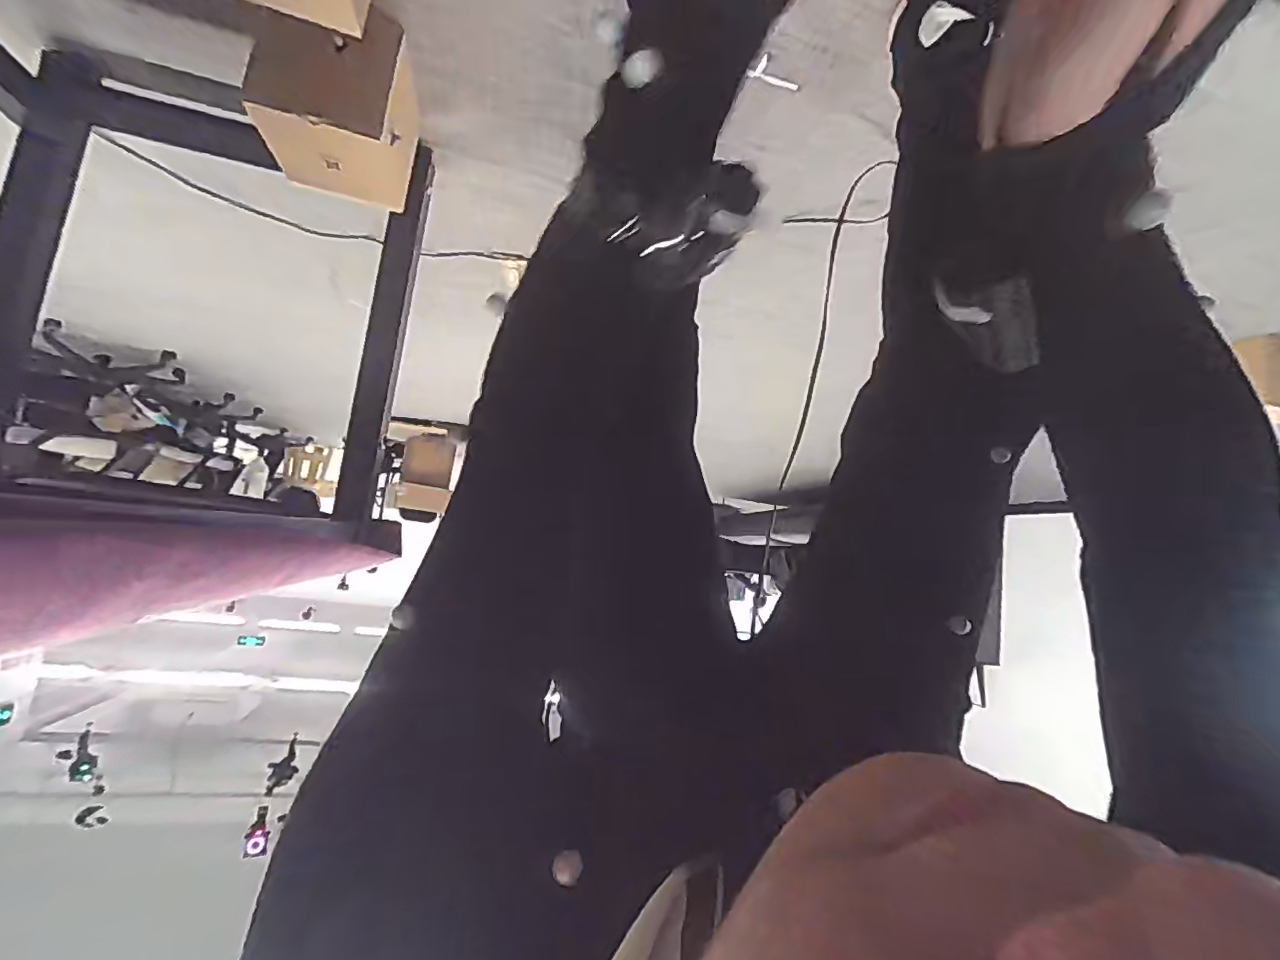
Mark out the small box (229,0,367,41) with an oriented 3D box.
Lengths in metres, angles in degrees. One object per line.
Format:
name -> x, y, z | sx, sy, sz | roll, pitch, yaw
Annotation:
small box -> -0.337, -0.555, 0.470 | 0.168, 0.176, 0.179 | 10, 172, -14

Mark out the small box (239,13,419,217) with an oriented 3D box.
small box -> -0.430, -0.524, 0.780 | 0.168, 0.176, 0.179 | 9, 172, -13
